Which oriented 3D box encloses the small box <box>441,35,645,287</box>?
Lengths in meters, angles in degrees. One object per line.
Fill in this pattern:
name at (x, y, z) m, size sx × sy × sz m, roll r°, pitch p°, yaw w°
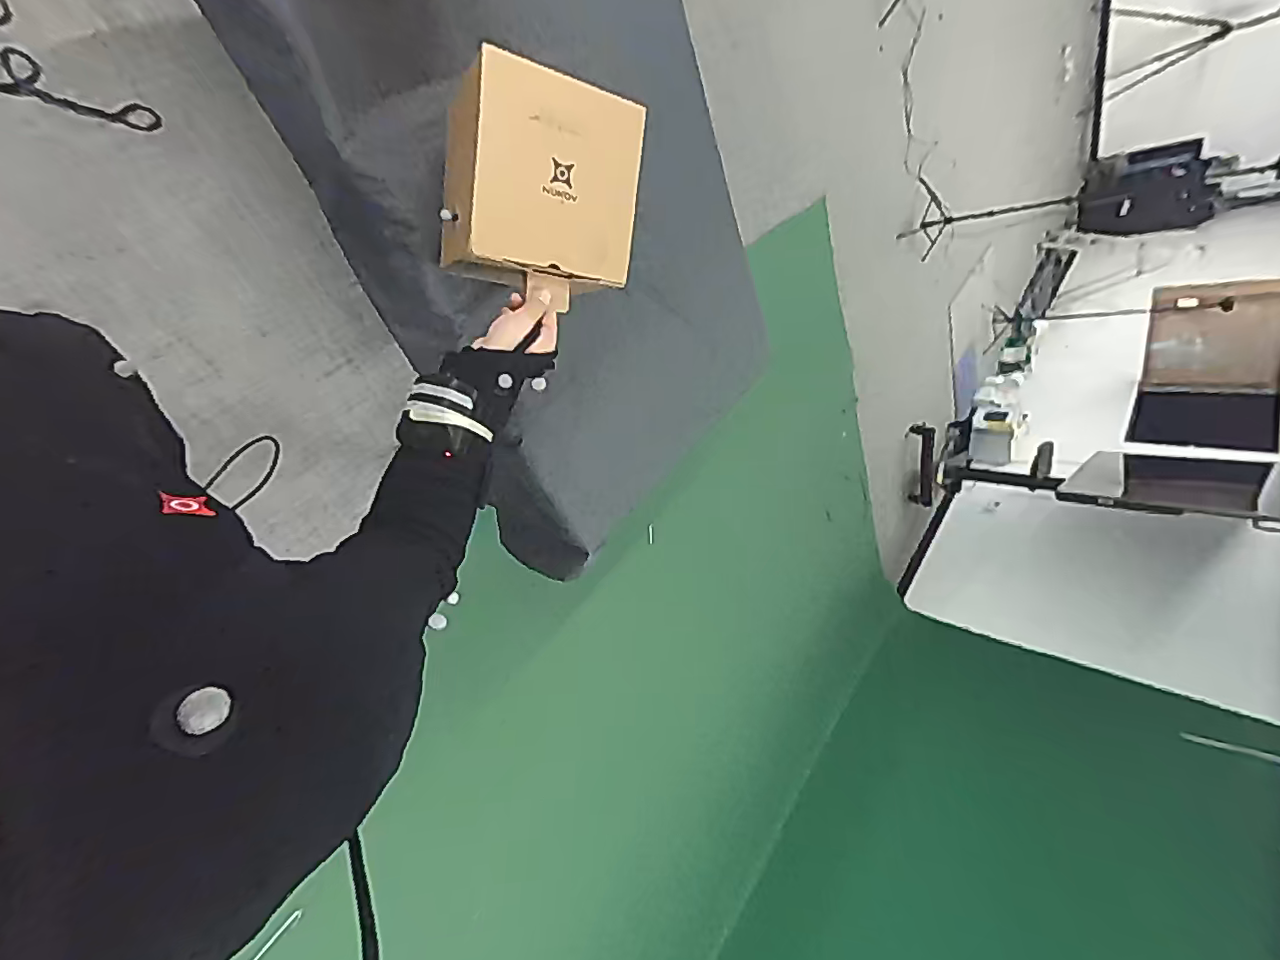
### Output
small box at (-0.113, -0.313, 0.583) m, size 0.168 × 0.176 × 0.179 m, roll -1°, pitch 103°, yaw -30°
